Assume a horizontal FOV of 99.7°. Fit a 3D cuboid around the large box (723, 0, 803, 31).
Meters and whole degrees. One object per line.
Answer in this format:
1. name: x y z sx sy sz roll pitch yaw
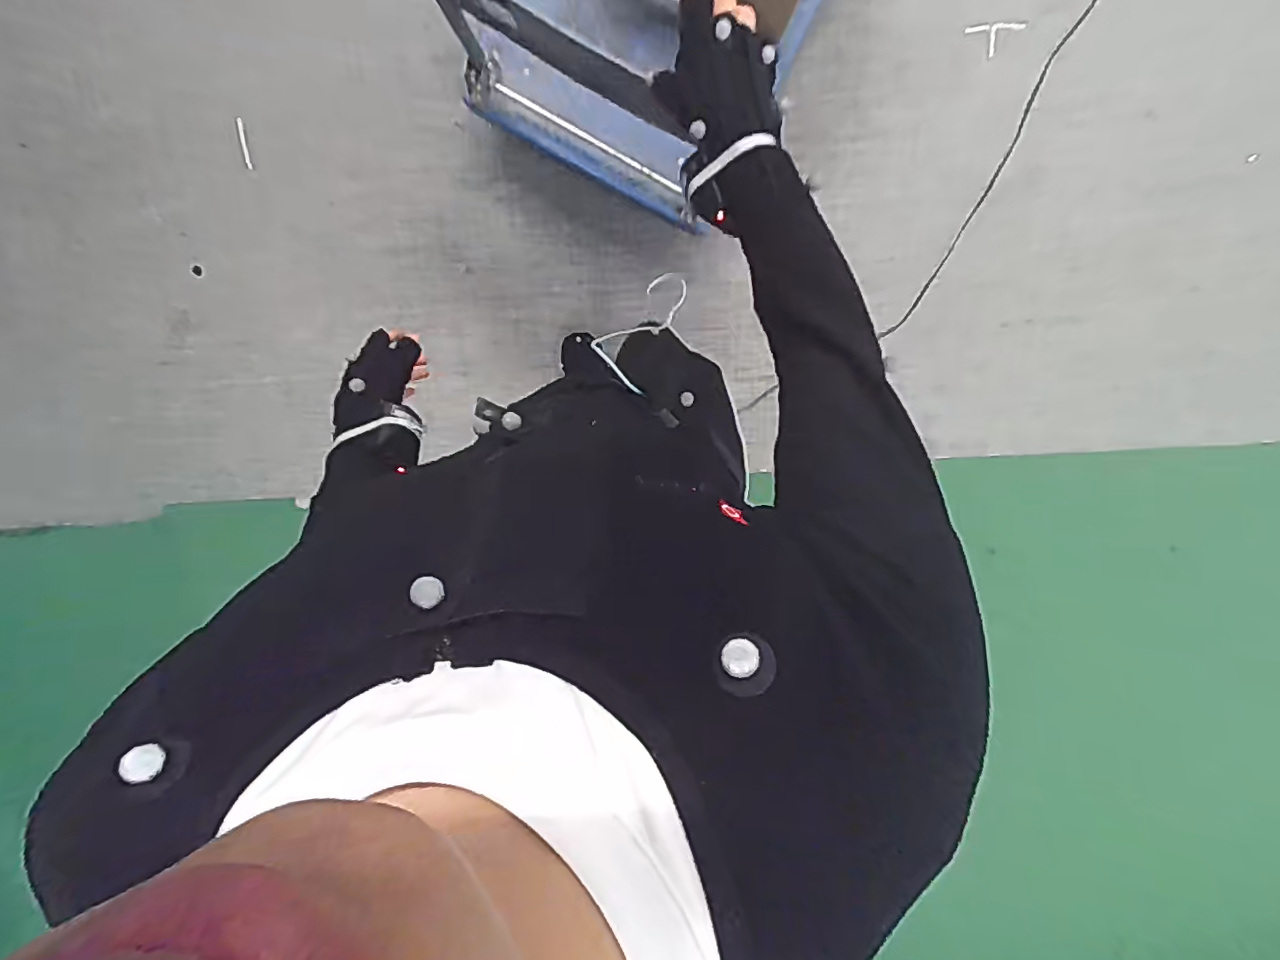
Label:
1. large box: 0.164 -1.045 0.864 0.408 0.320 0.320 25 103 -5
